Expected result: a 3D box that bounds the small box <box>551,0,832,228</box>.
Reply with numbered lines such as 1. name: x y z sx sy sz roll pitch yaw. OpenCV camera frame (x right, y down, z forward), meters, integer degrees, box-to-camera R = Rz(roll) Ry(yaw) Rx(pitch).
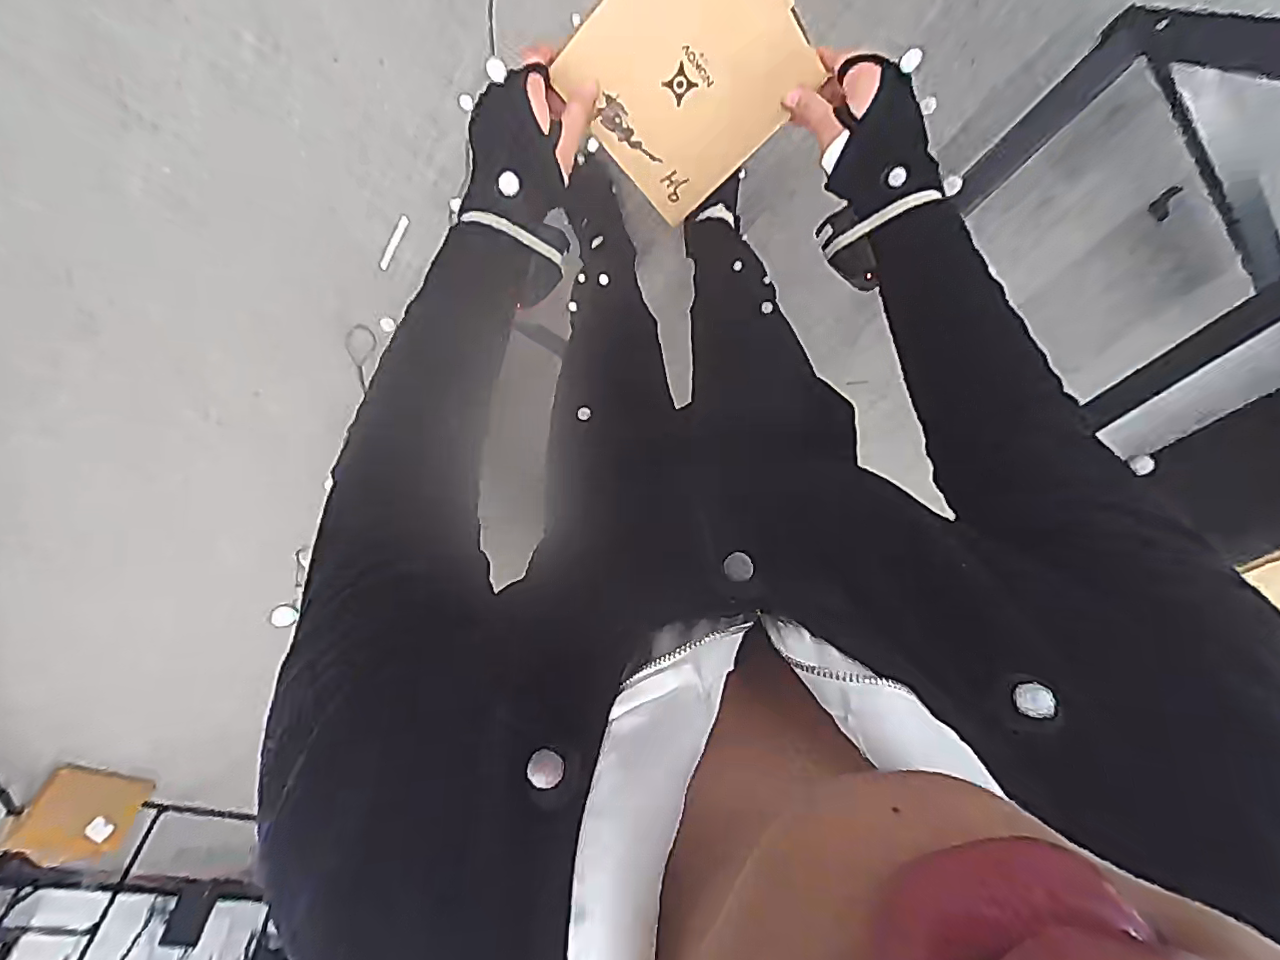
1. small box: 0.037 -0.379 0.495 0.179 0.176 0.168 -36 125 25
